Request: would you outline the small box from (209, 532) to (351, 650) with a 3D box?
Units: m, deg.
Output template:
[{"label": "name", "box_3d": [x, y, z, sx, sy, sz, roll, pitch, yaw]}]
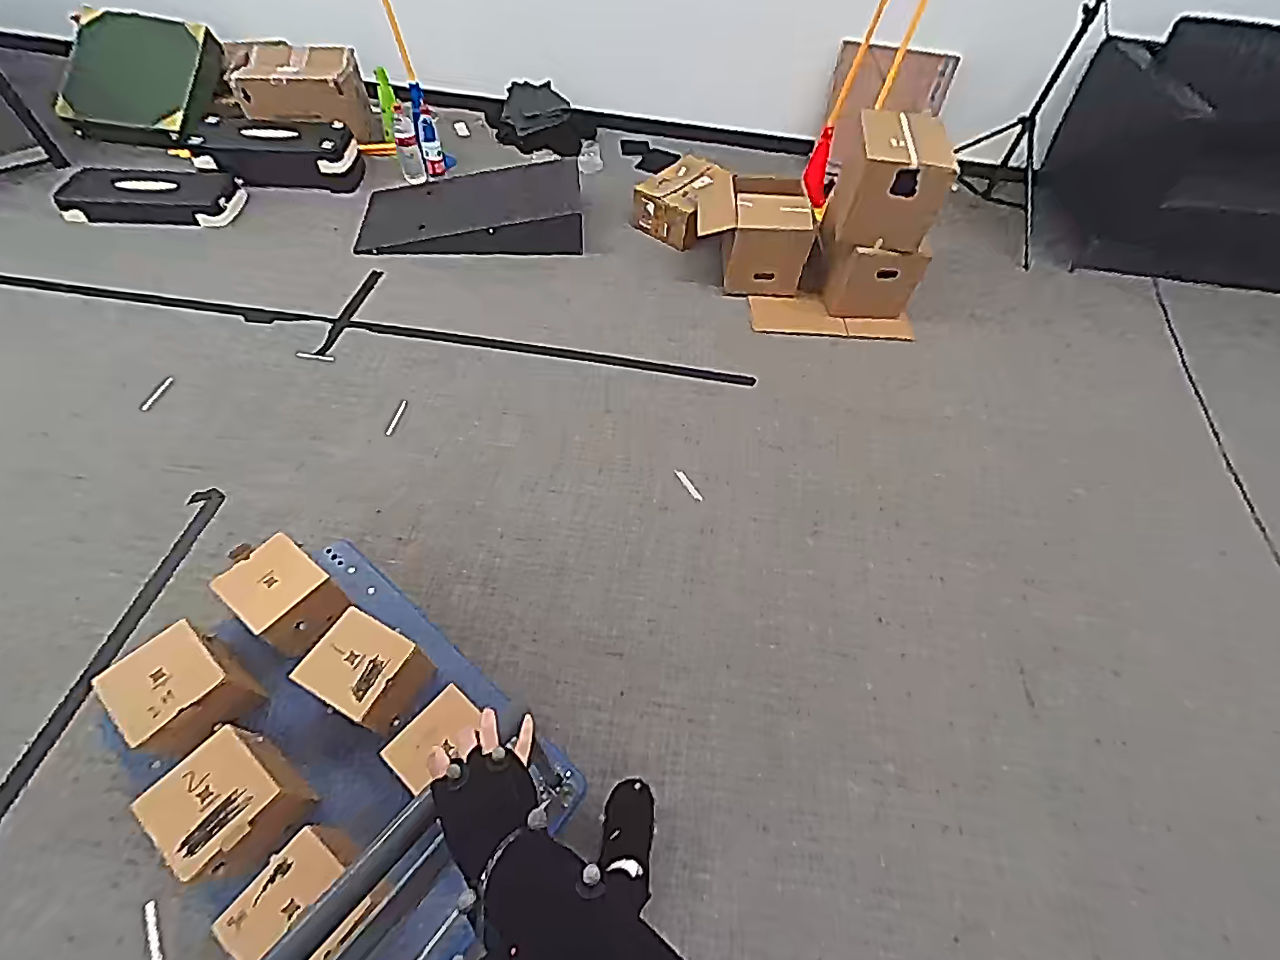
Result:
[{"label": "small box", "box_3d": [-0.784, 0.255, 1.198, 0.179, 0.176, 0.168, 34, 59, 16]}]

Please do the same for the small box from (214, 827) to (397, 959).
[{"label": "small box", "box_3d": [-0.542, 0.717, 0.905, 0.179, 0.176, 0.168, 33, 58, 16]}]

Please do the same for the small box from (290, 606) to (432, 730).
[{"label": "small box", "box_3d": [-0.563, 0.397, 1.123, 0.179, 0.176, 0.168, 25, 57, 12]}]

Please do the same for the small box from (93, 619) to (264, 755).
[{"label": "small box", "box_3d": [-0.903, 0.415, 1.074, 0.179, 0.176, 0.168, 38, 61, 18]}]

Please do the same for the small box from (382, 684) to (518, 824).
[{"label": "small box", "box_3d": [-0.357, 0.535, 1.052, 0.179, 0.176, 0.168, 36, 59, 19]}]
